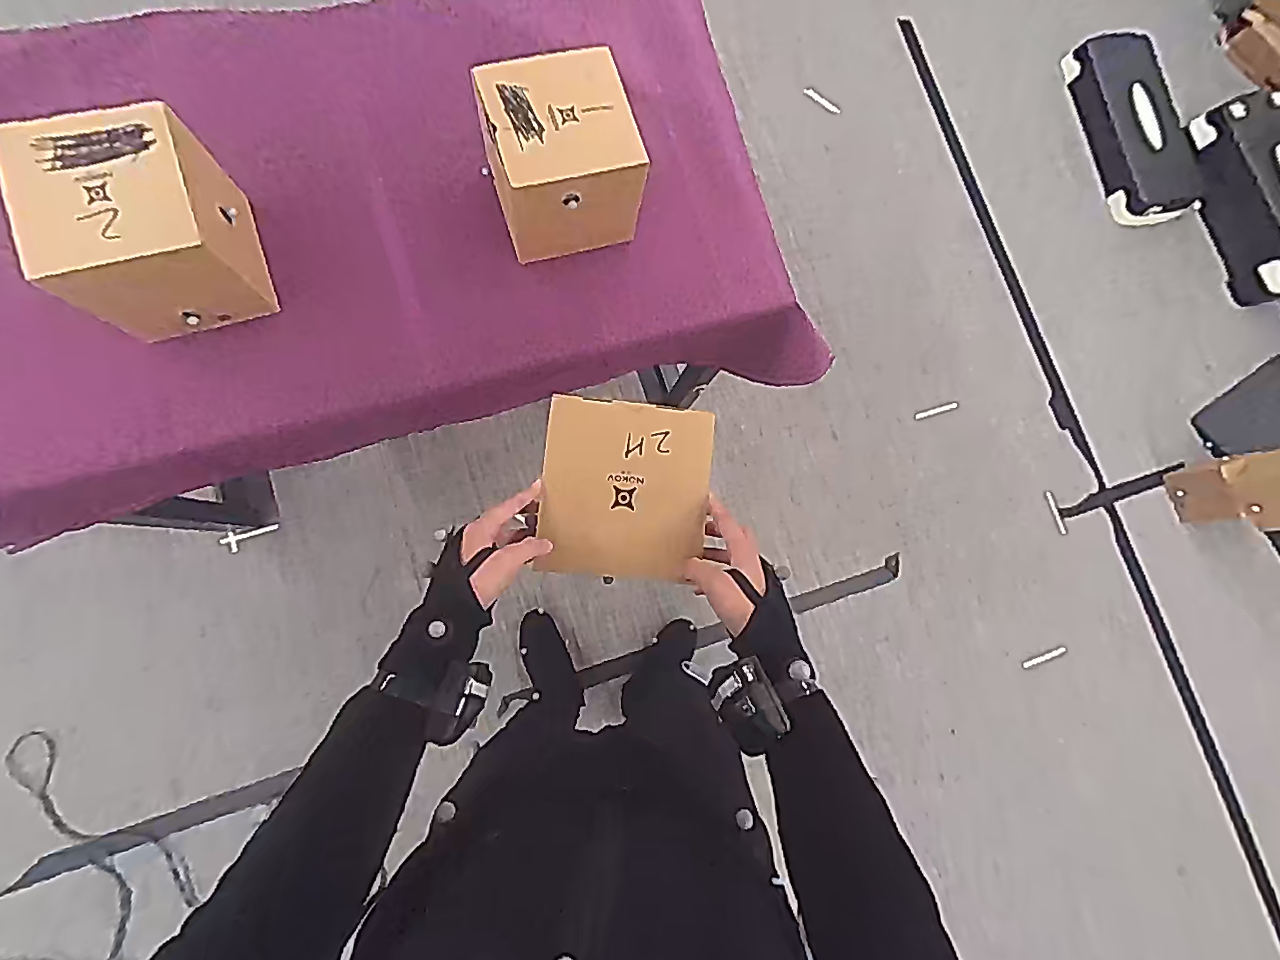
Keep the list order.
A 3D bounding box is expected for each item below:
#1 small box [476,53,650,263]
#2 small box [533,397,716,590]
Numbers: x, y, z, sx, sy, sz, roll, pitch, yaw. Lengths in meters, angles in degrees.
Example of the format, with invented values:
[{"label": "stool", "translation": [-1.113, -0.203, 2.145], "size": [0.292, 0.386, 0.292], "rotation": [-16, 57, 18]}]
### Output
[{"label": "small box", "translation": [-0.102, -0.420, 0.729], "size": [0.179, 0.176, 0.168], "rotation": [-17, 84, -11]}, {"label": "small box", "translation": [-0.018, 0.018, 0.610], "size": [0.168, 0.176, 0.179], "rotation": [6, 85, -3]}]
